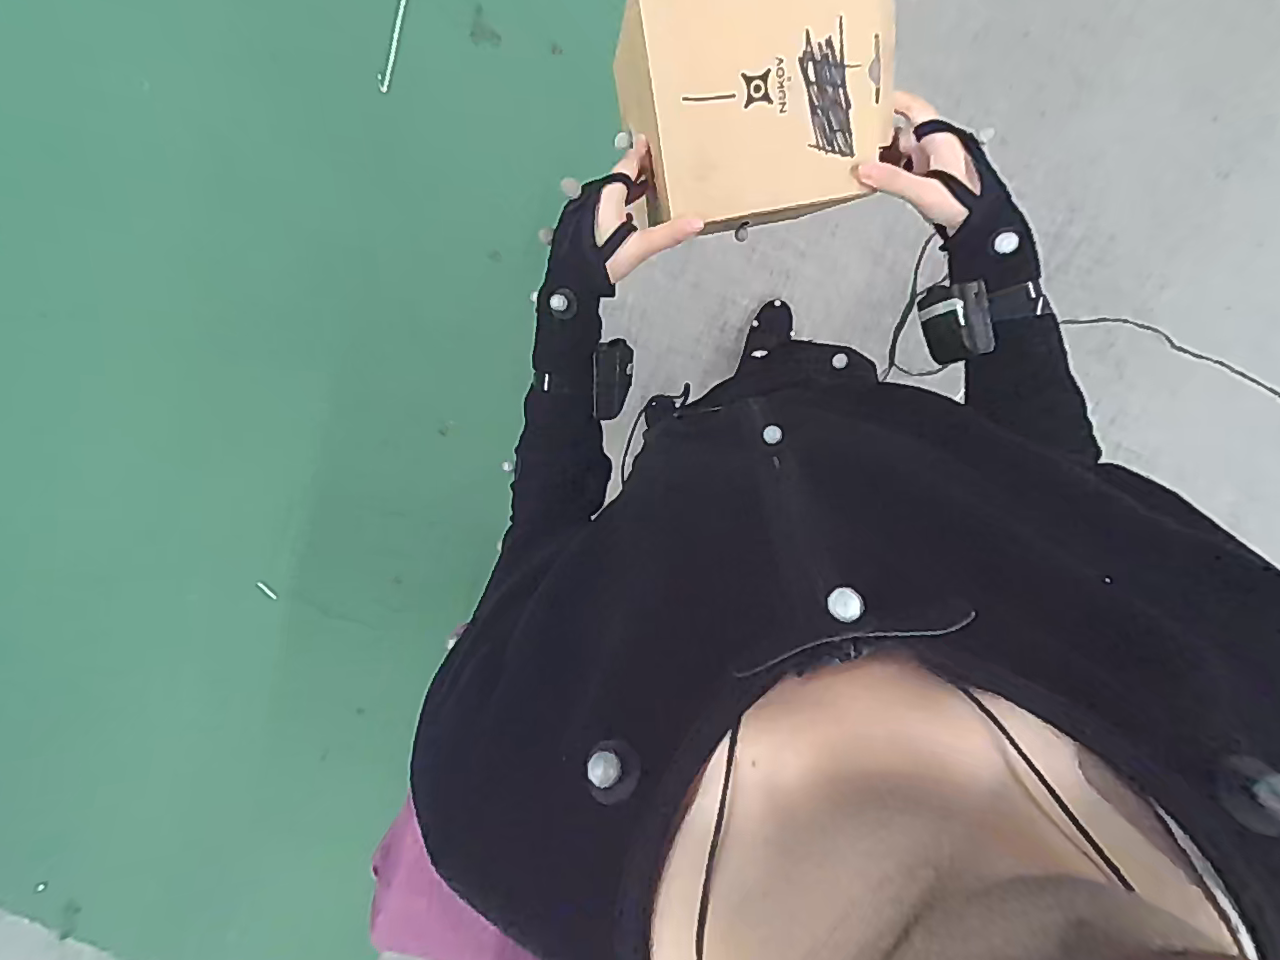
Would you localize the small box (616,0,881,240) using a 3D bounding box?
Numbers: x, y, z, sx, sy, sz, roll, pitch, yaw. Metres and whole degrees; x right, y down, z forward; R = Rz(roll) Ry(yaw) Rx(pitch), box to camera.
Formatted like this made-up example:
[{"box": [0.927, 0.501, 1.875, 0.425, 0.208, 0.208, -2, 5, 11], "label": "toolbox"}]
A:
[{"box": [0.084, -0.317, 0.472, 0.179, 0.176, 0.168, -12, 109, -3], "label": "small box"}]
